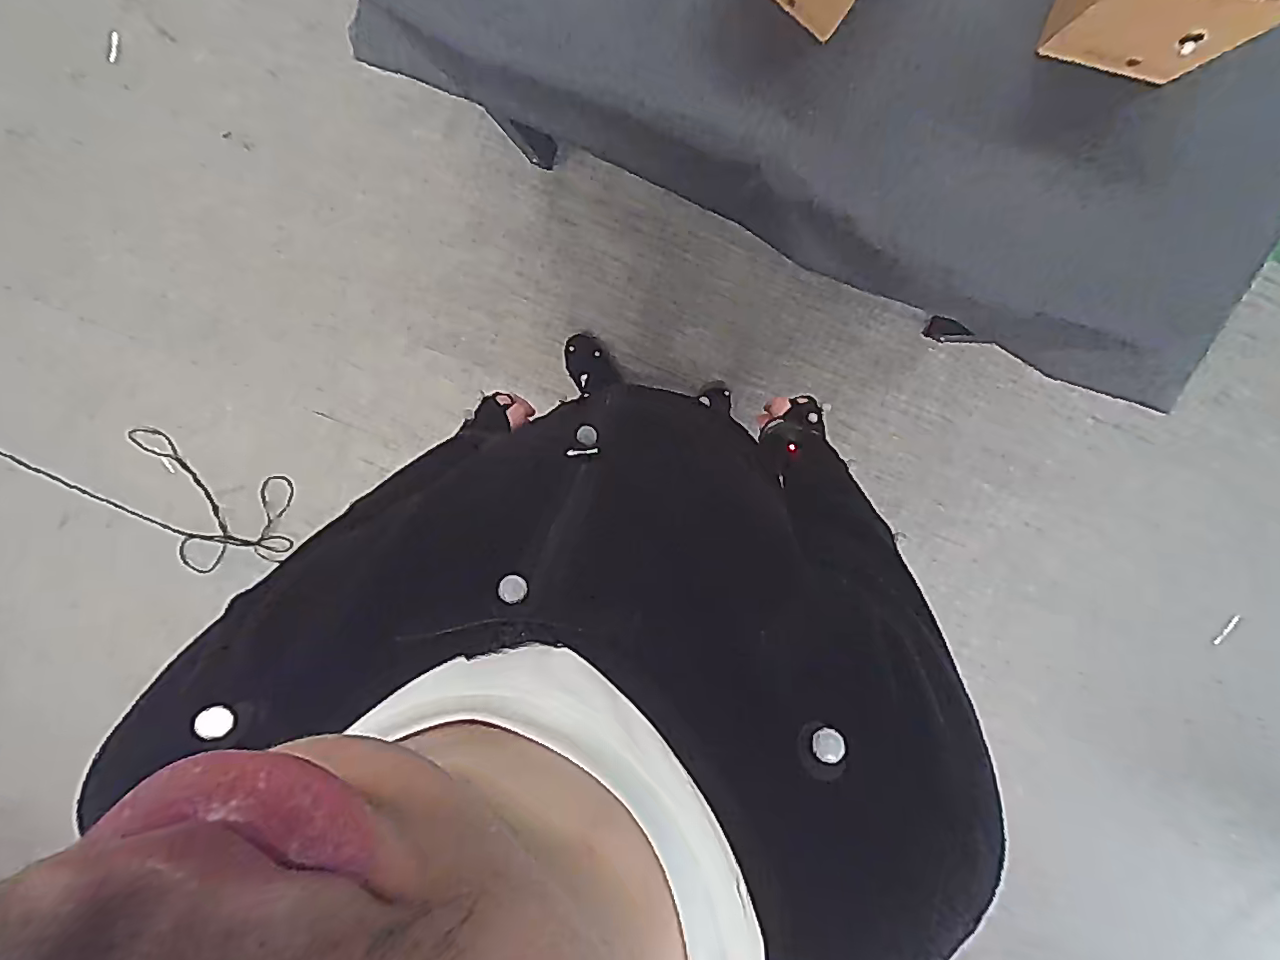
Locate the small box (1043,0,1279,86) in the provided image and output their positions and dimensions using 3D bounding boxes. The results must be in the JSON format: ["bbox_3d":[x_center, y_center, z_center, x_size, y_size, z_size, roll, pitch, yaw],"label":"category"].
[{"bbox_3d":[0.579,-0.562,0.570,0.168,0.176,0.179,14,104,-2],"label":"small box"}]

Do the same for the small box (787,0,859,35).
[{"bbox_3d":[0.216,-0.638,0.571,0.168,0.176,0.179,36,104,-7],"label":"small box"}]
